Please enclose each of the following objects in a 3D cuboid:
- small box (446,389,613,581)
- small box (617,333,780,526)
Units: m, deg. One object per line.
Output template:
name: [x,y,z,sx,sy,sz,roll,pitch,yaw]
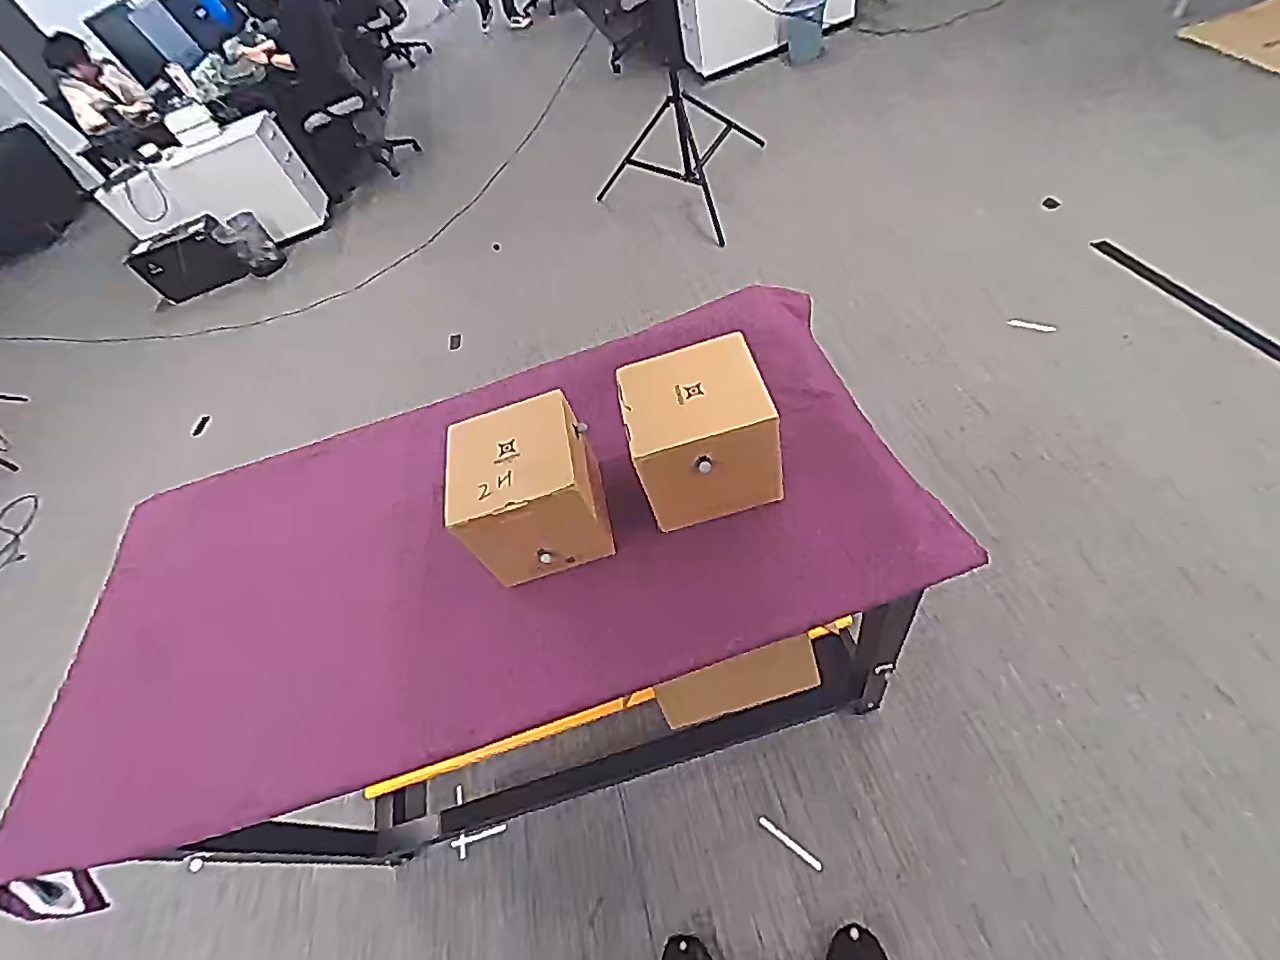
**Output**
small box: [-0.147,0.011,0.745,0.168,0.176,0.179,-18,51,5]
small box: [0.082,-0.062,0.731,0.179,0.176,0.168,-16,51,6]
